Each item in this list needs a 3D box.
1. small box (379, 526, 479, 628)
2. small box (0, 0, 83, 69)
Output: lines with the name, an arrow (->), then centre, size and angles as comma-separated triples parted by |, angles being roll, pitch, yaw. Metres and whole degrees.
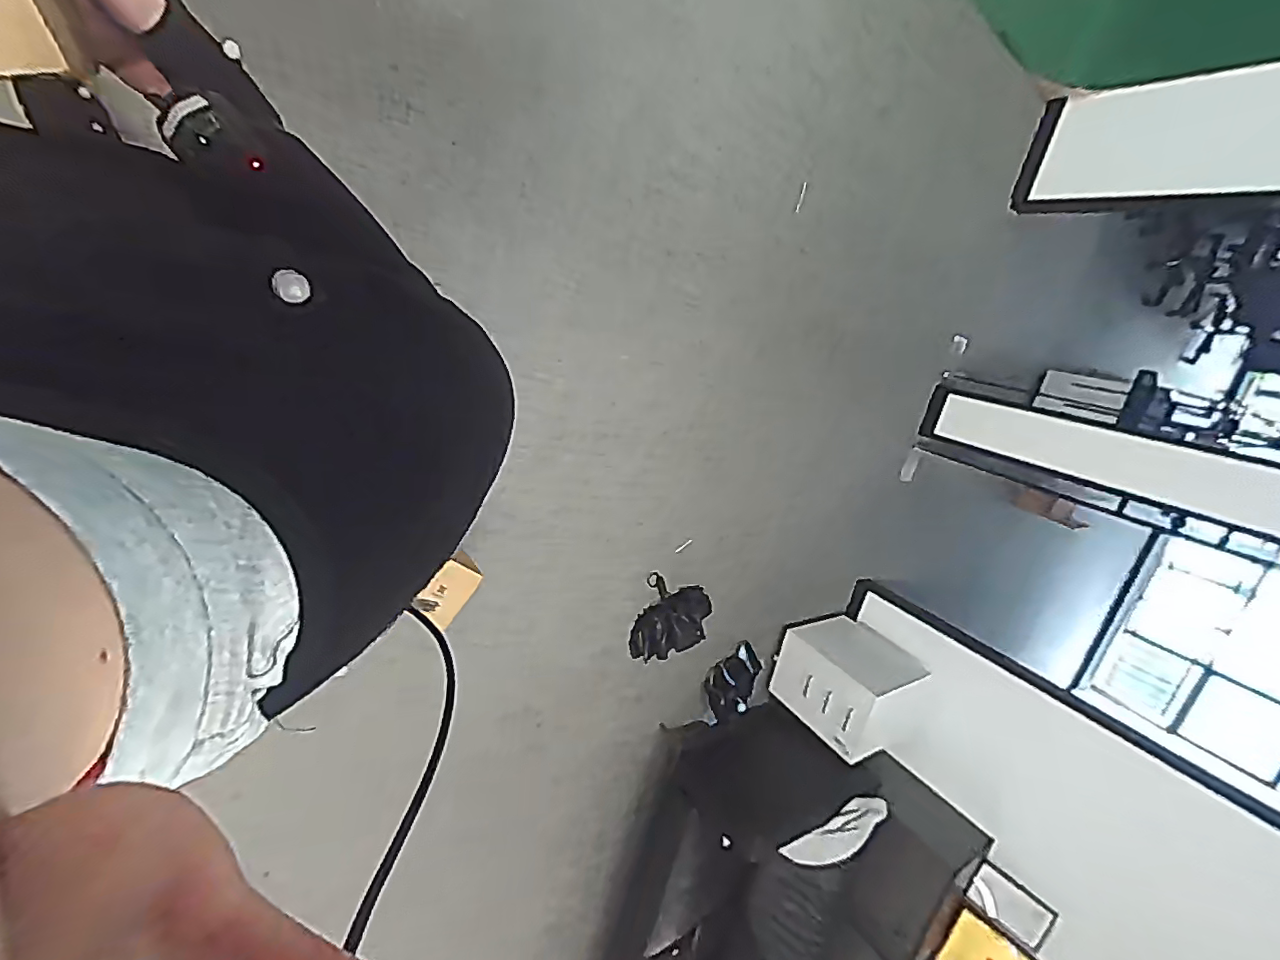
small box -> -0.565, 0.254, 1.433 | 0.179, 0.176, 0.168 | -53, 132, -6
small box -> -0.463, -0.323, 0.289 | 0.179, 0.176, 0.168 | -23, 134, -24
